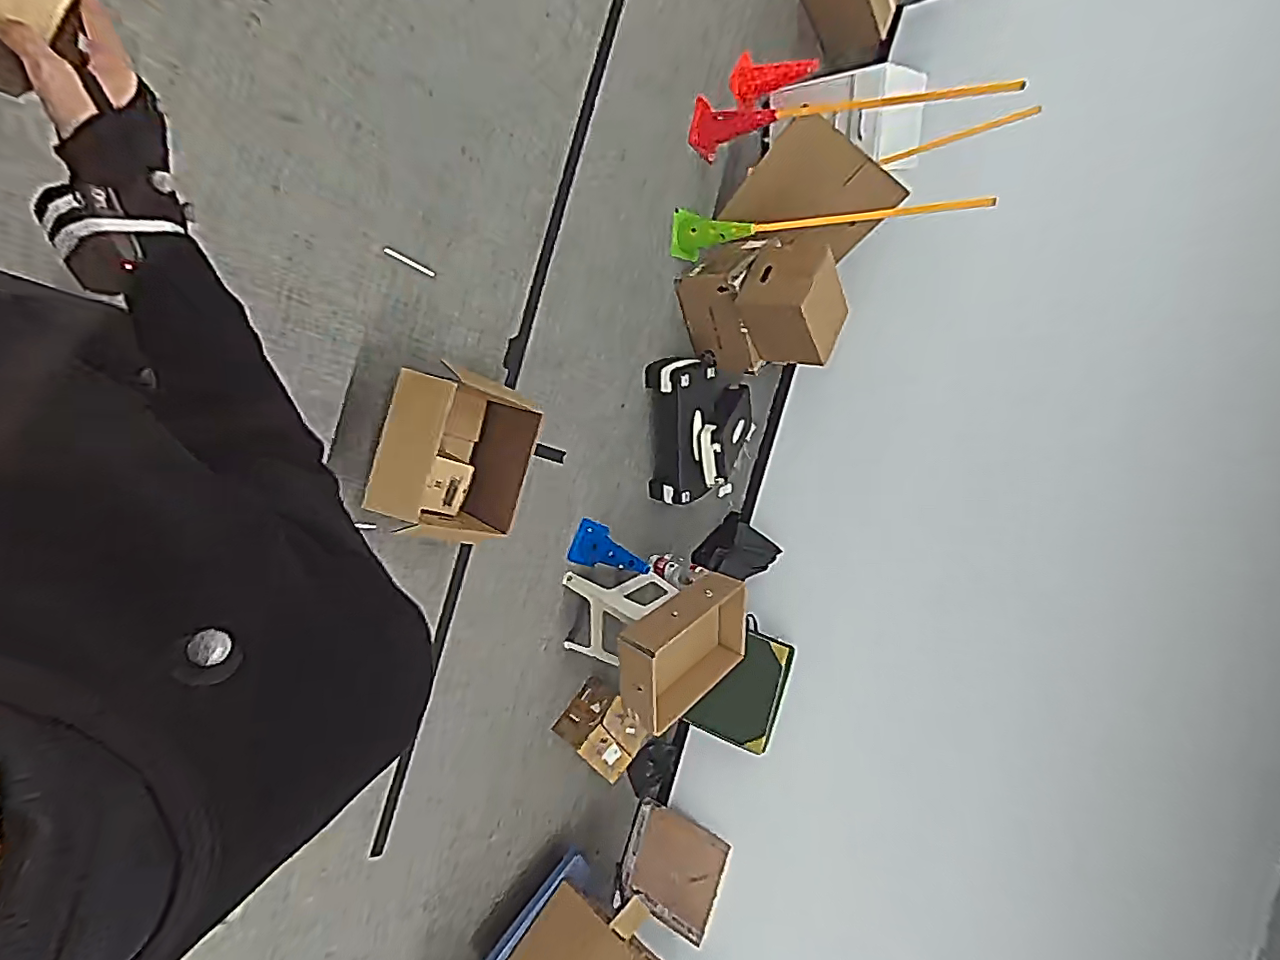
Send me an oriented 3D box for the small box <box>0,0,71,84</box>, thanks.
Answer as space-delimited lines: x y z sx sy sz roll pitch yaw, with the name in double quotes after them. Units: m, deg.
-0.539 -0.418 0.376 0.168 0.176 0.179 -8 111 -59 "small box"
